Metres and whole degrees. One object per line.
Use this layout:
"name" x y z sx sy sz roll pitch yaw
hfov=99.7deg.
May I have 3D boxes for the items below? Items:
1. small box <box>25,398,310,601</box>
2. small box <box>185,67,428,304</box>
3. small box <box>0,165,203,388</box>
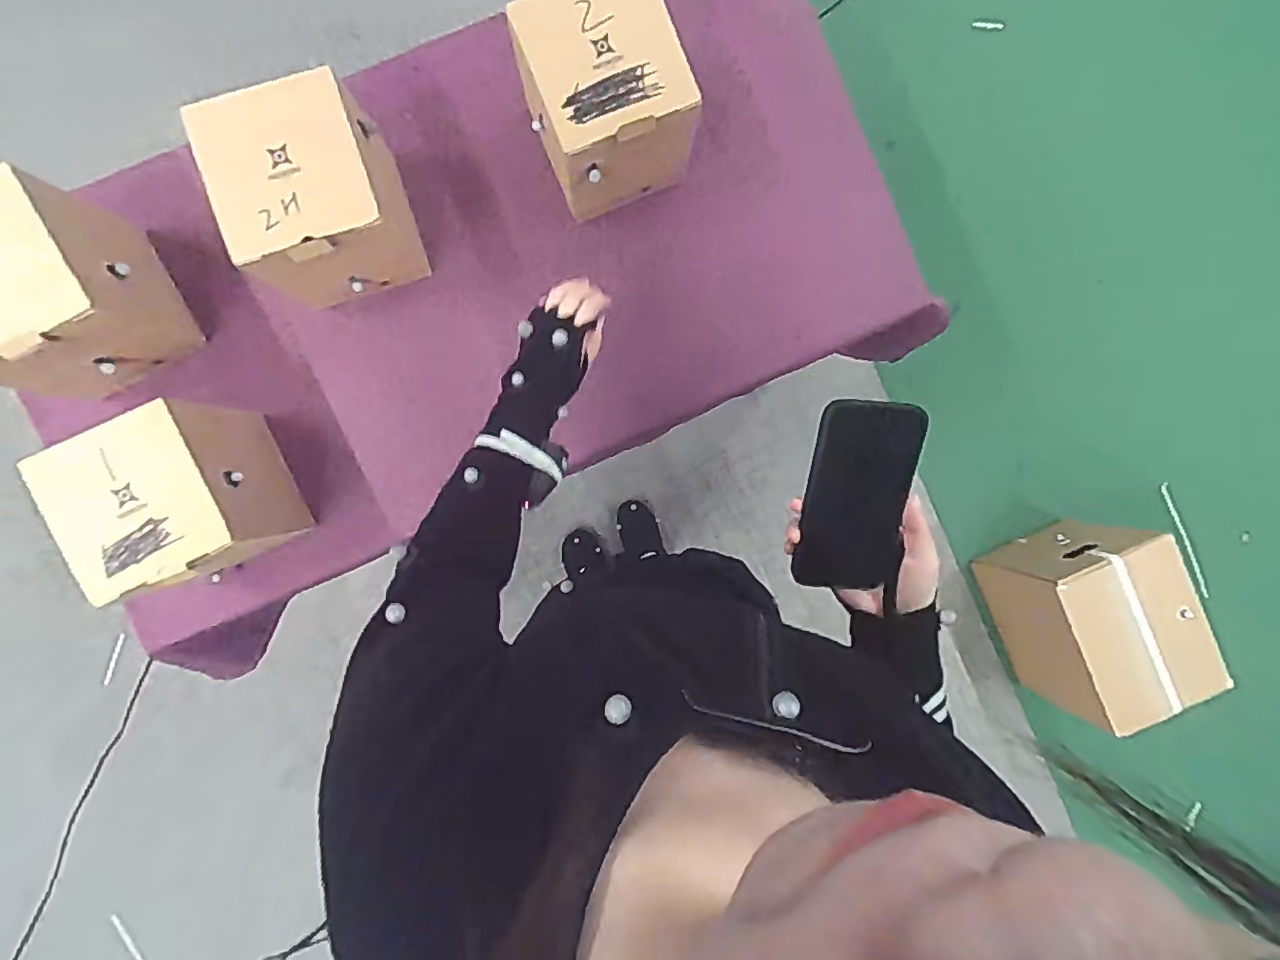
"small box" -0.551 0.020 0.661 0.168 0.176 0.179 -26 91 -2
"small box" -0.385 -0.341 0.659 0.168 0.176 0.179 -17 93 -2
"small box" -0.690 -0.222 0.648 0.168 0.176 0.179 -29 94 -2
